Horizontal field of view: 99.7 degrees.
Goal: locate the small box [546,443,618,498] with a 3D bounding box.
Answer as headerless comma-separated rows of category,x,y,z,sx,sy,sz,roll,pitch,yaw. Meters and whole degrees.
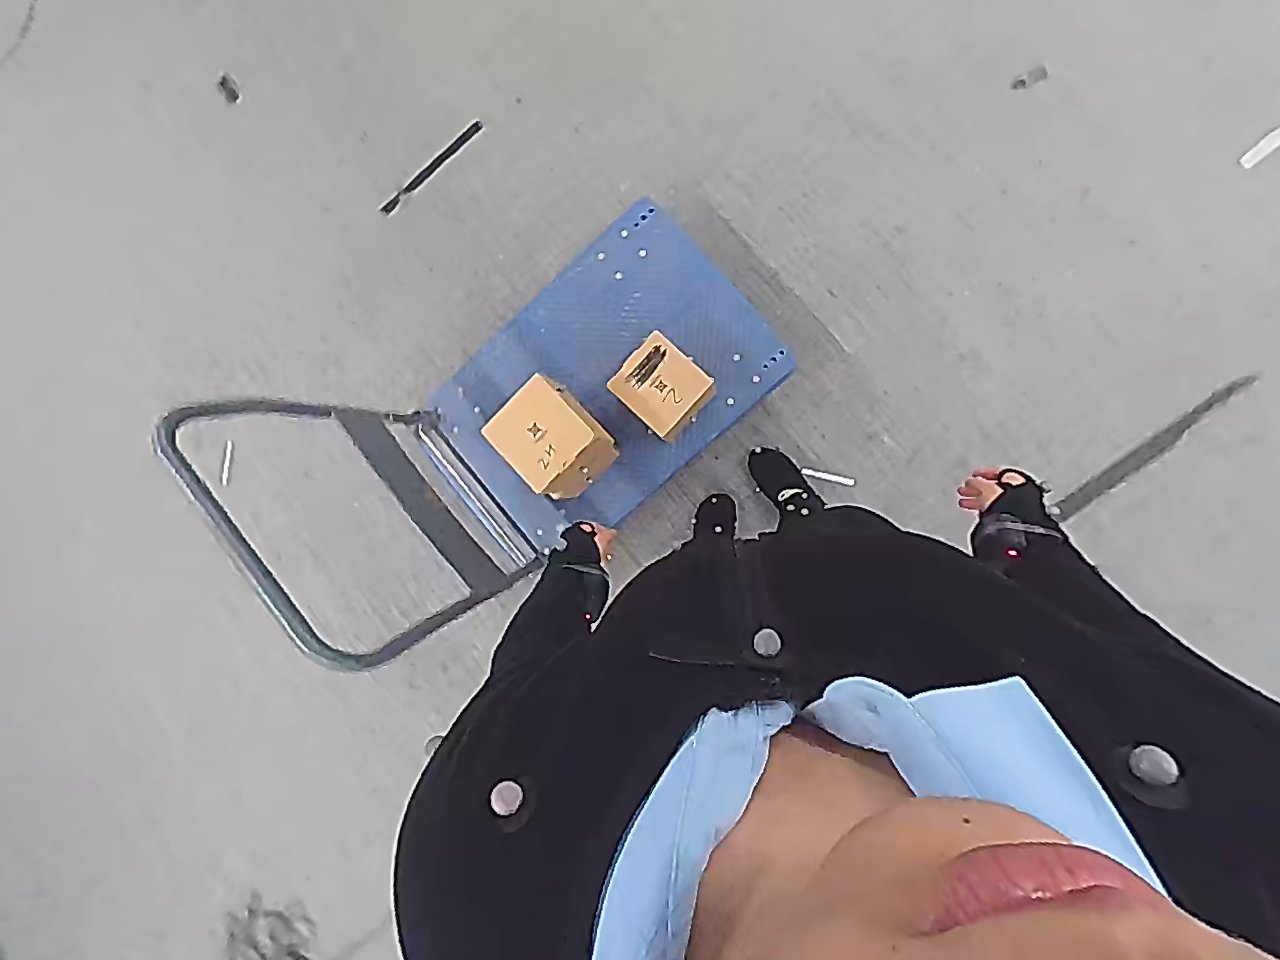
small box,-0.177,-0.073,1.286,0.168,0.176,0.179,-45,84,7

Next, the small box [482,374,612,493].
small box,-0.184,-0.090,1.121,0.168,0.176,0.179,-44,84,7
